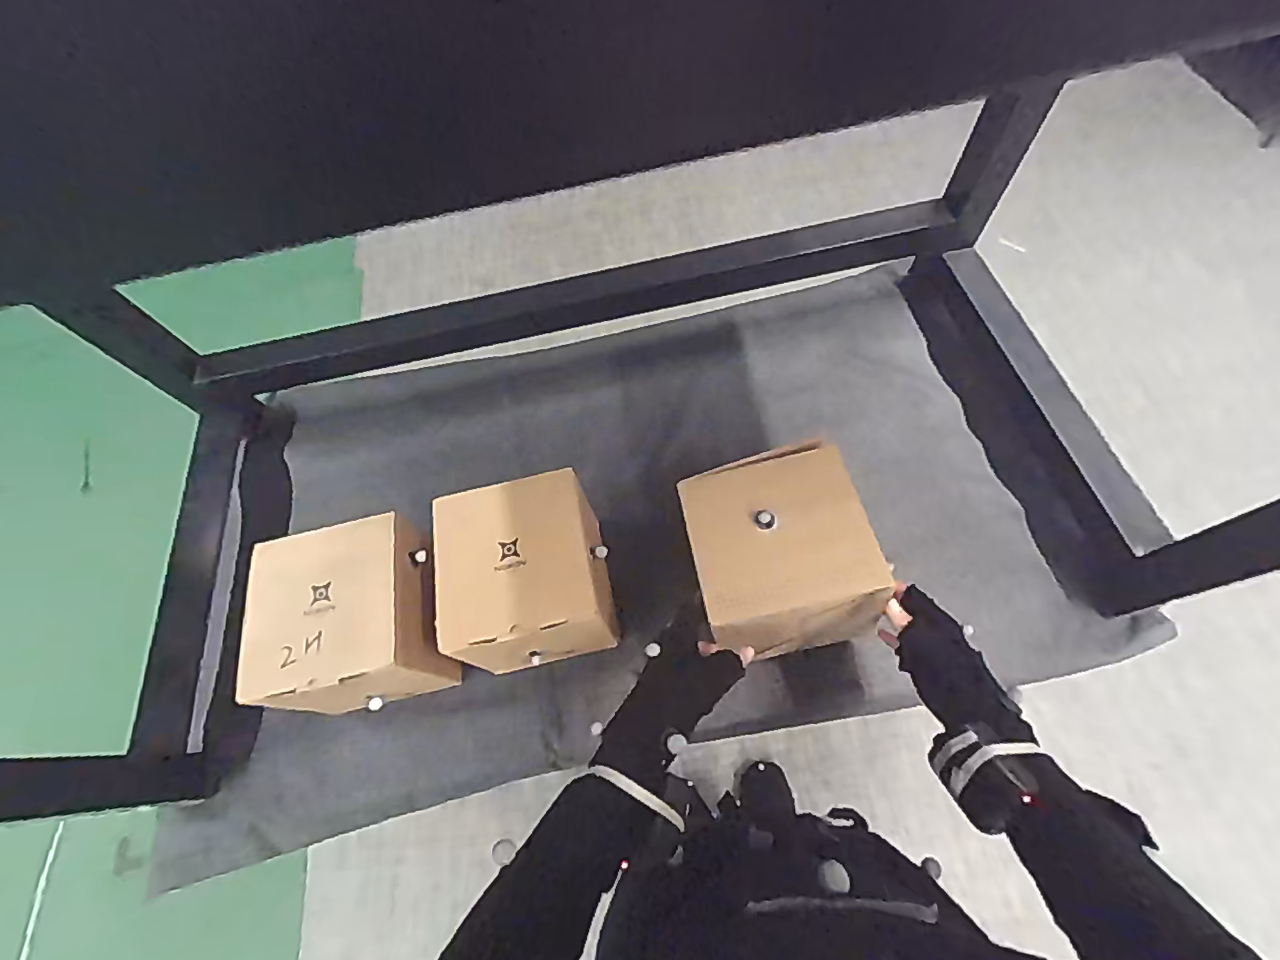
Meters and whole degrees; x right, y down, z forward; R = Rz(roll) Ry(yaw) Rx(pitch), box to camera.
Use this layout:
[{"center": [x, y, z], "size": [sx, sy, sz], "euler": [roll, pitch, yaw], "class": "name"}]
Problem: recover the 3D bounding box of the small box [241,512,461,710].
[{"center": [-0.327, 0.164, 0.650], "size": [0.168, 0.176, 0.179], "euler": [-13, 63, 0], "class": "small box"}]
